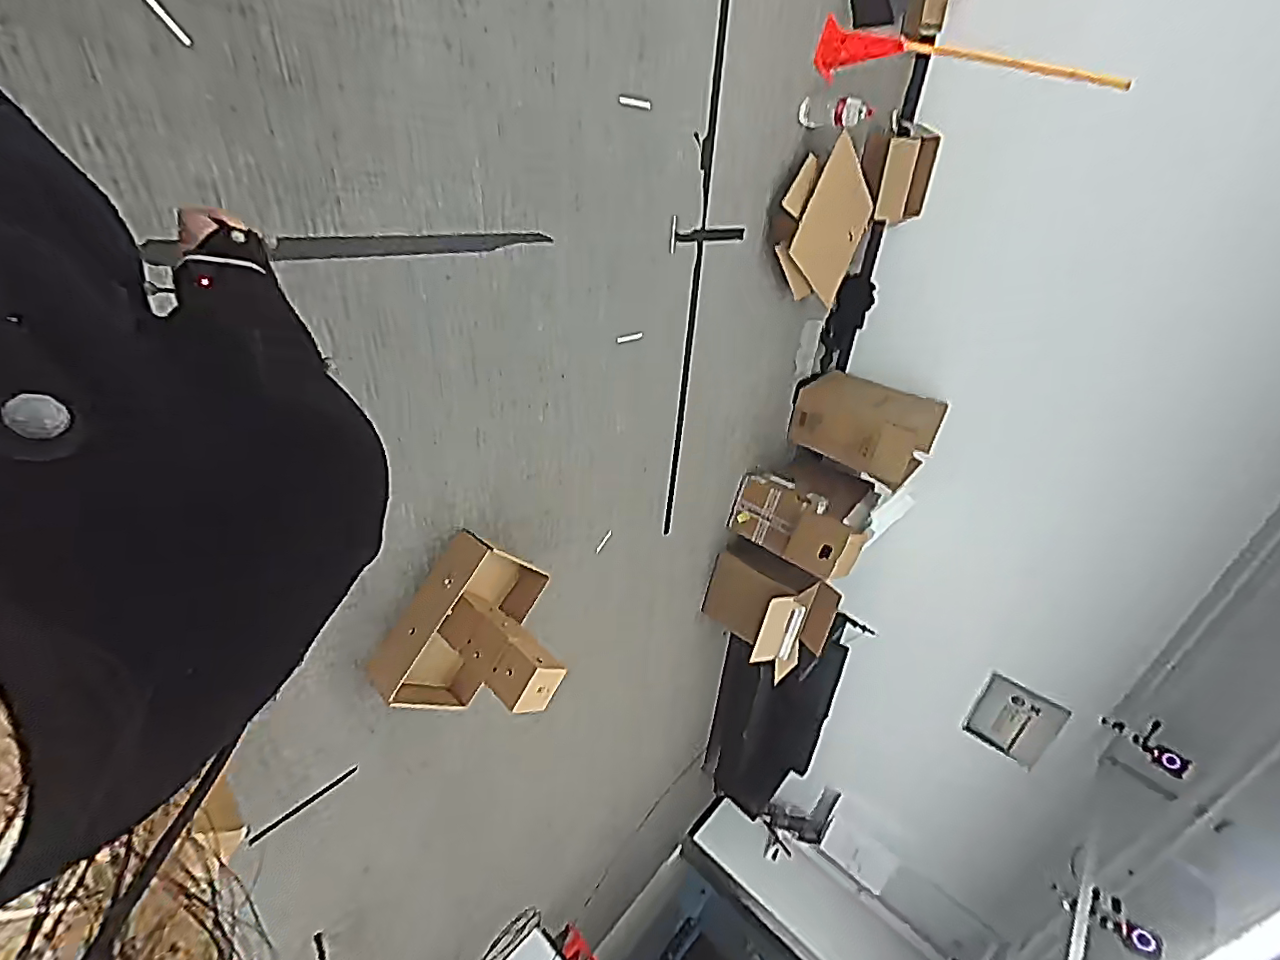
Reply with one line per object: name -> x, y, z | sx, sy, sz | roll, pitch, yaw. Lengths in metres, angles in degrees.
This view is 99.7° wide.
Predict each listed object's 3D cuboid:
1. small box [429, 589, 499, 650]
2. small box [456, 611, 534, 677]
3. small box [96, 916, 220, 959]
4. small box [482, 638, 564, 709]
small box -> -0.645, 0.528, 2.022 | 0.168, 0.176, 0.179 | -57, 146, -7
small box -> -0.522, 0.588, 1.936 | 0.168, 0.176, 0.179 | -59, 148, -3
small box -> -1.015, 1.036, 1.101 | 0.179, 0.176, 0.168 | -55, 146, -11
small box -> -0.403, 0.658, 1.844 | 0.168, 0.176, 0.179 | -58, 146, -2
